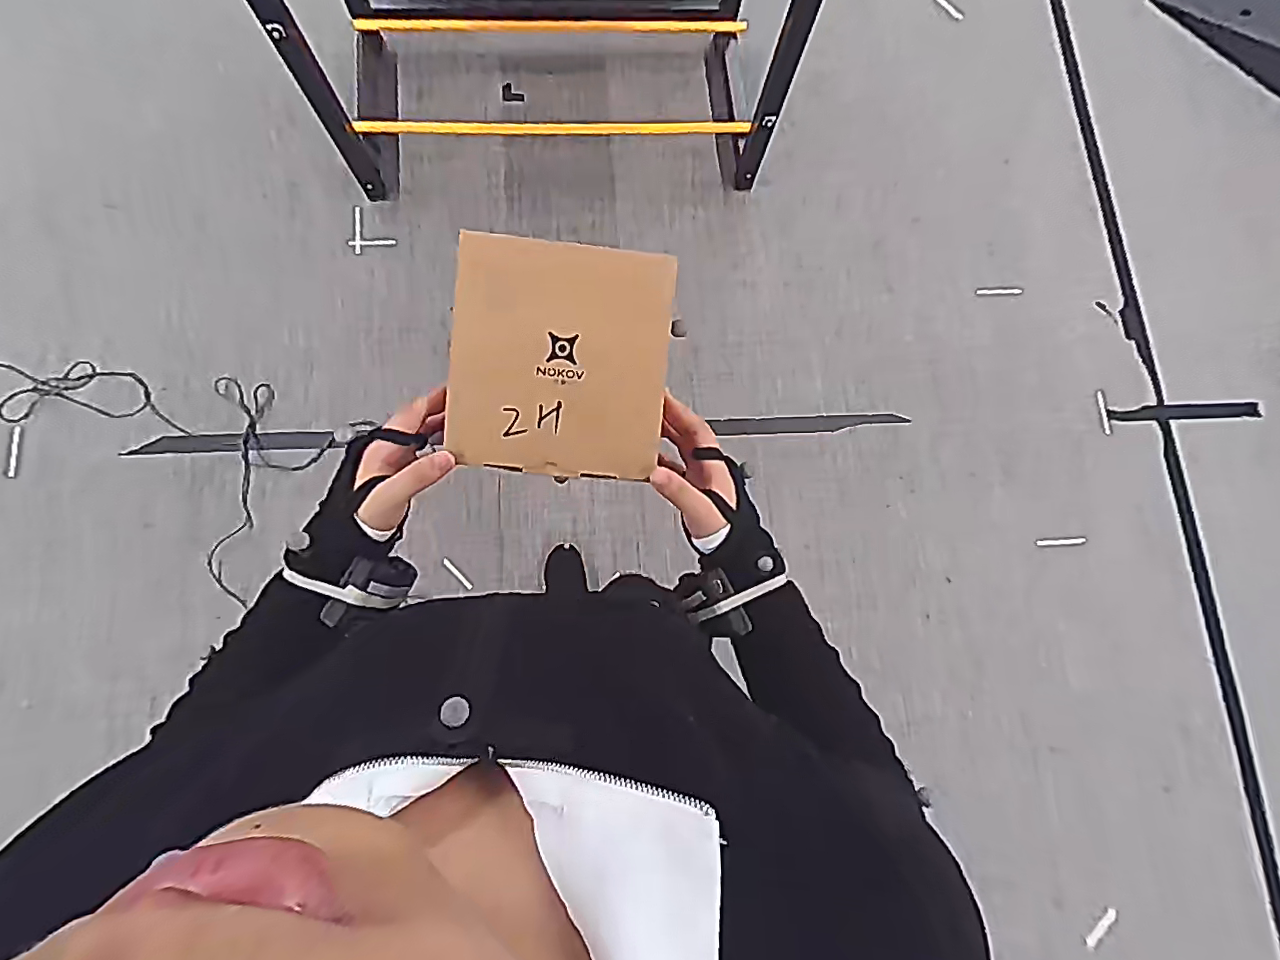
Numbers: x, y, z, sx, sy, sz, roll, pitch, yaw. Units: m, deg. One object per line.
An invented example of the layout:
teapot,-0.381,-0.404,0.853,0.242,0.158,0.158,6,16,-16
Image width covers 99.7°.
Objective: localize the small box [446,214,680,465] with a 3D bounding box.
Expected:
small box,-0.064,-0.110,0.493,0.168,0.176,0.179,6,94,-3
